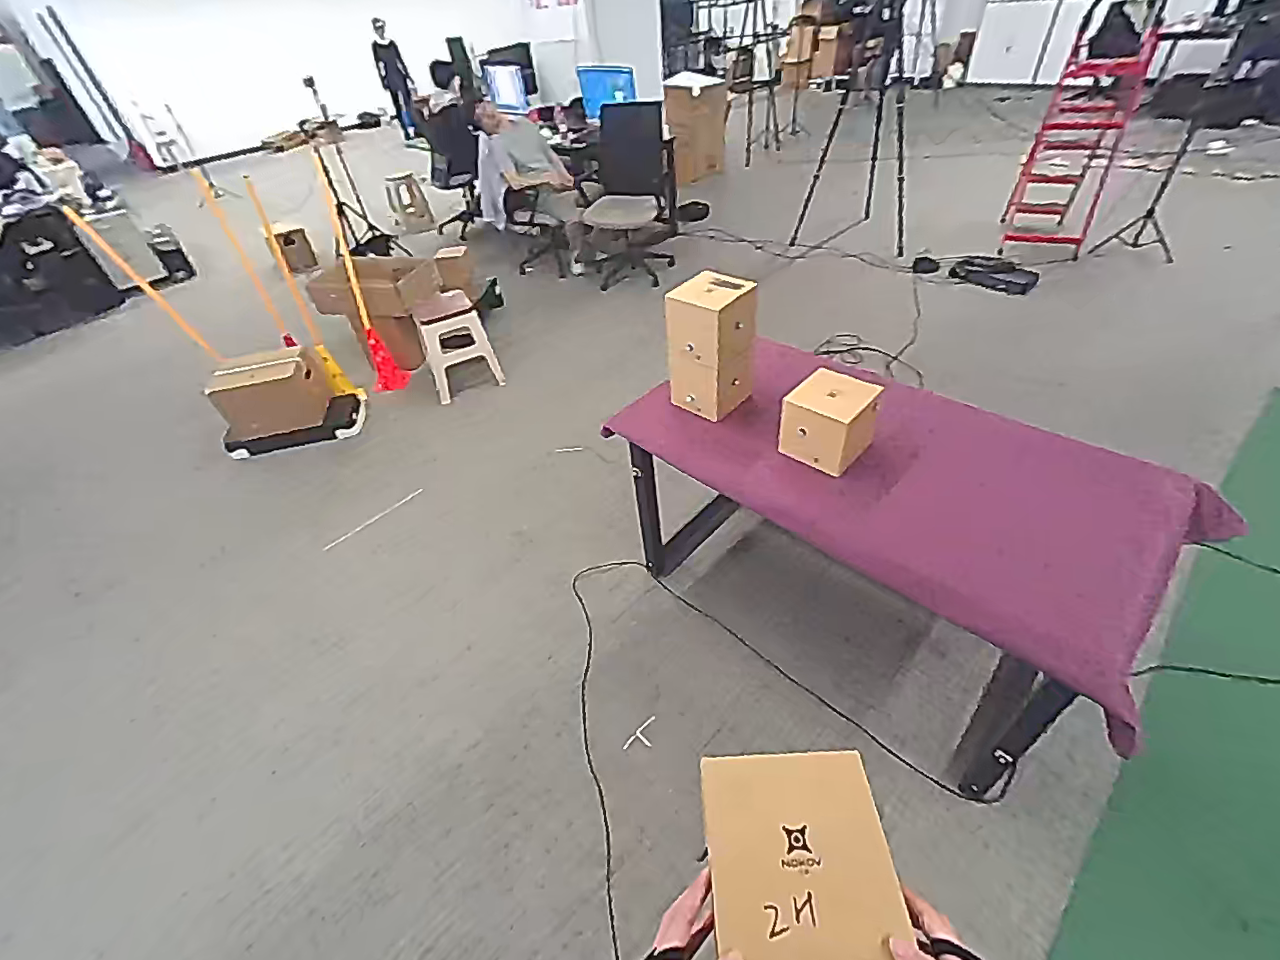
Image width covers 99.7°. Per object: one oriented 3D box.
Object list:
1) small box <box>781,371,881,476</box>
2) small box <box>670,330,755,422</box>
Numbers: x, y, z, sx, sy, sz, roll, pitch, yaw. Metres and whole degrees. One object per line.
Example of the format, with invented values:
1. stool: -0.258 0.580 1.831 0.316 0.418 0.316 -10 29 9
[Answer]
1. small box: 0.461 -0.138 1.326 0.168 0.176 0.179 29 53 33
2. small box: 0.202 -0.292 1.523 0.168 0.176 0.179 29 54 33
